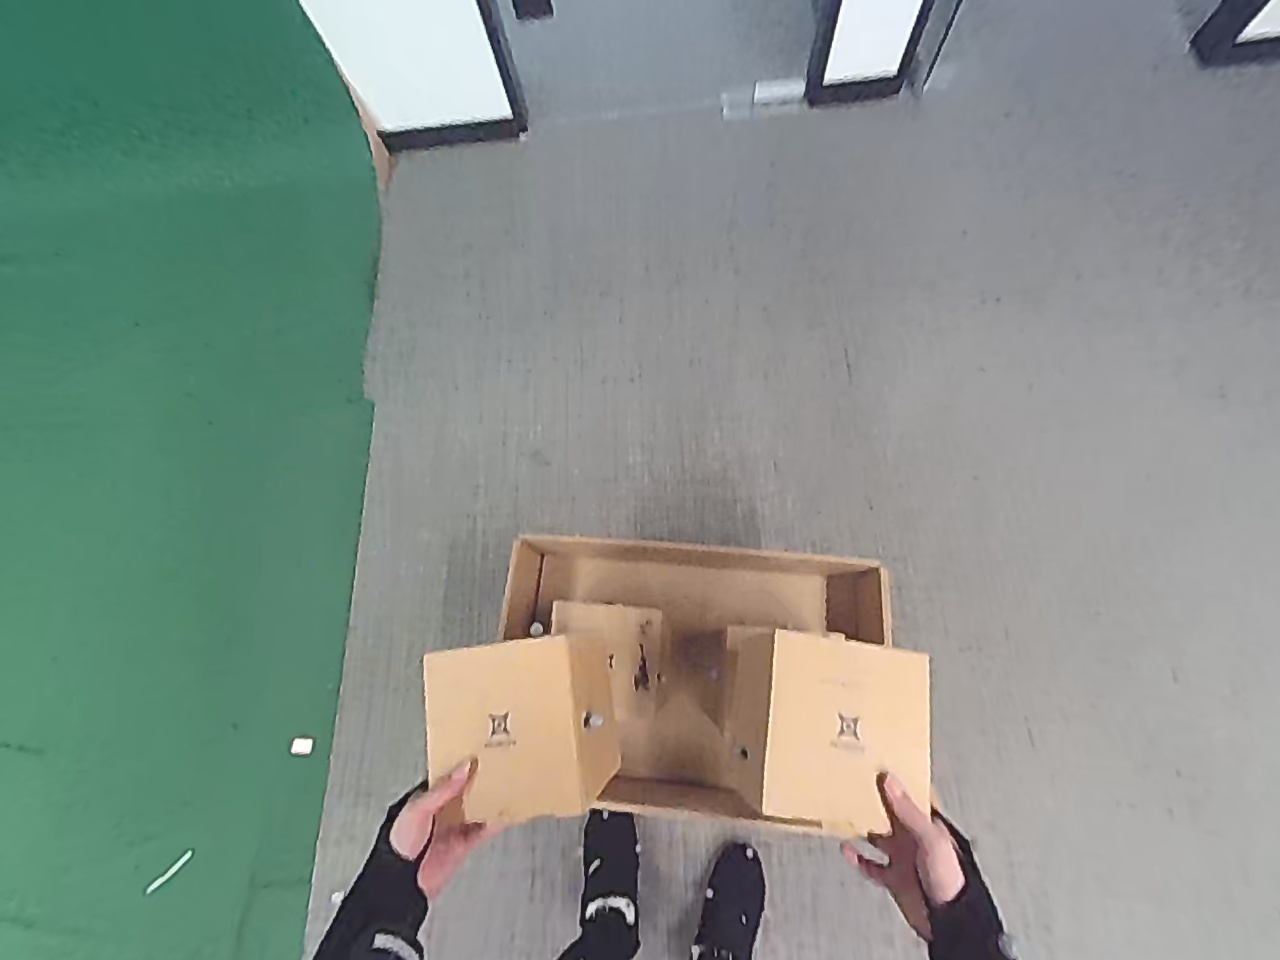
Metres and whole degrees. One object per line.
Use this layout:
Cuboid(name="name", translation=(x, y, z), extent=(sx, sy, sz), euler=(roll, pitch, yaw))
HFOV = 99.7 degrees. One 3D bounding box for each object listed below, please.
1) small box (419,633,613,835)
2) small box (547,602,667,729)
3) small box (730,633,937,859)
Cuboid(name="small box", translation=(-0.134, 0.275, 0.624), extent=(0.168, 0.176, 0.179), euler=(-10, 77, 7))
Cuboid(name="small box", translation=(-0.053, 0.301, 0.887), extent=(0.179, 0.176, 0.168), euler=(4, 72, 7))
Cuboid(name="small box", translation=(0.201, 0.278, 0.597), extent=(0.168, 0.176, 0.179), euler=(11, 69, 1))
